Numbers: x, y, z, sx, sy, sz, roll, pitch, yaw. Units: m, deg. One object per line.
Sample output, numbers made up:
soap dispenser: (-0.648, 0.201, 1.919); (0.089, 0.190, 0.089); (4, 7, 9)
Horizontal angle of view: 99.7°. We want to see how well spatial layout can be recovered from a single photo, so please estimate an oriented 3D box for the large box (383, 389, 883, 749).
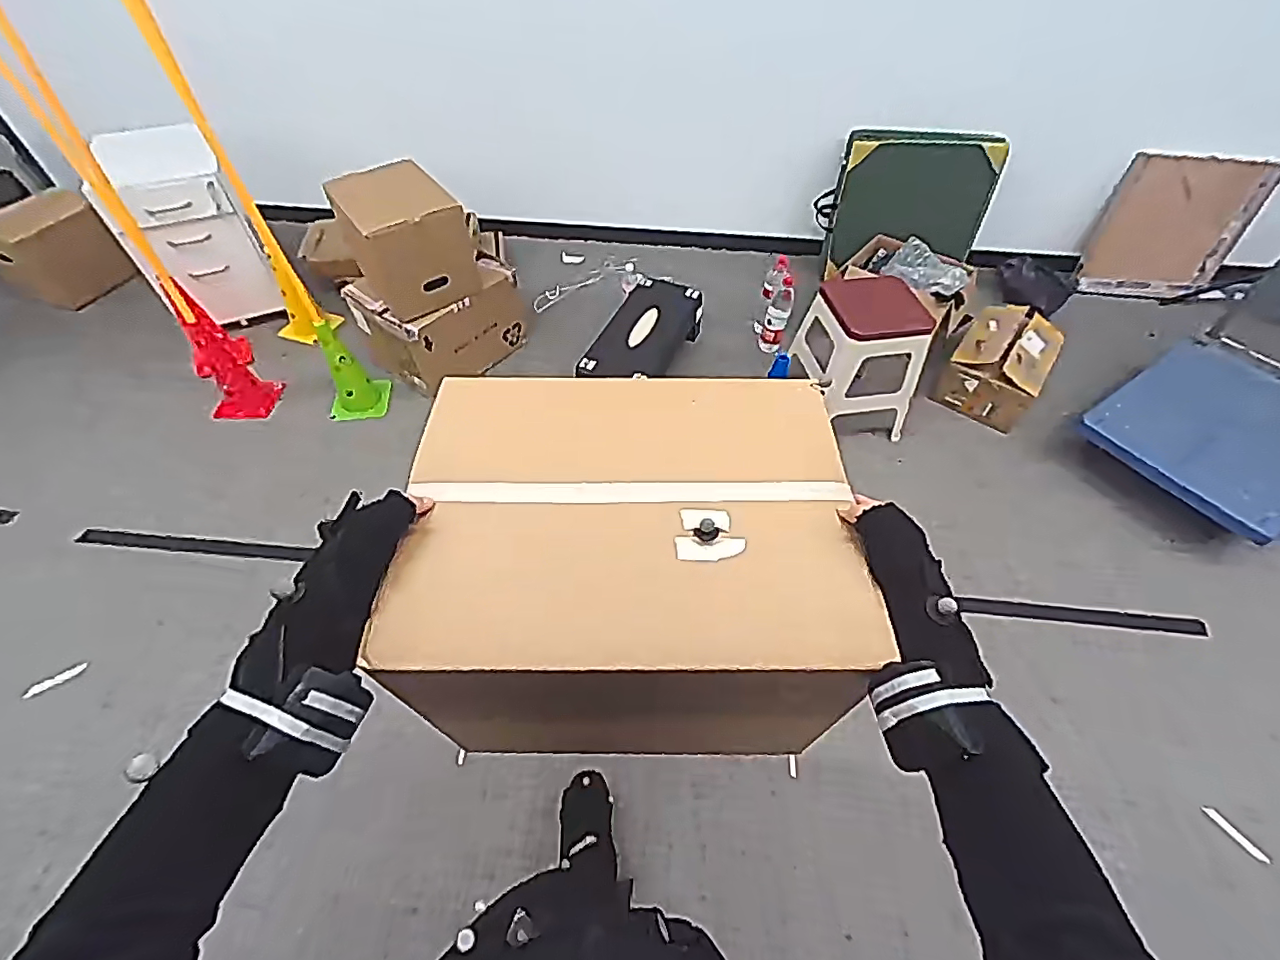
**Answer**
large box: (-0.008, 0.109, 0.630); (0.408, 0.320, 0.320); (0, 53, -1)
